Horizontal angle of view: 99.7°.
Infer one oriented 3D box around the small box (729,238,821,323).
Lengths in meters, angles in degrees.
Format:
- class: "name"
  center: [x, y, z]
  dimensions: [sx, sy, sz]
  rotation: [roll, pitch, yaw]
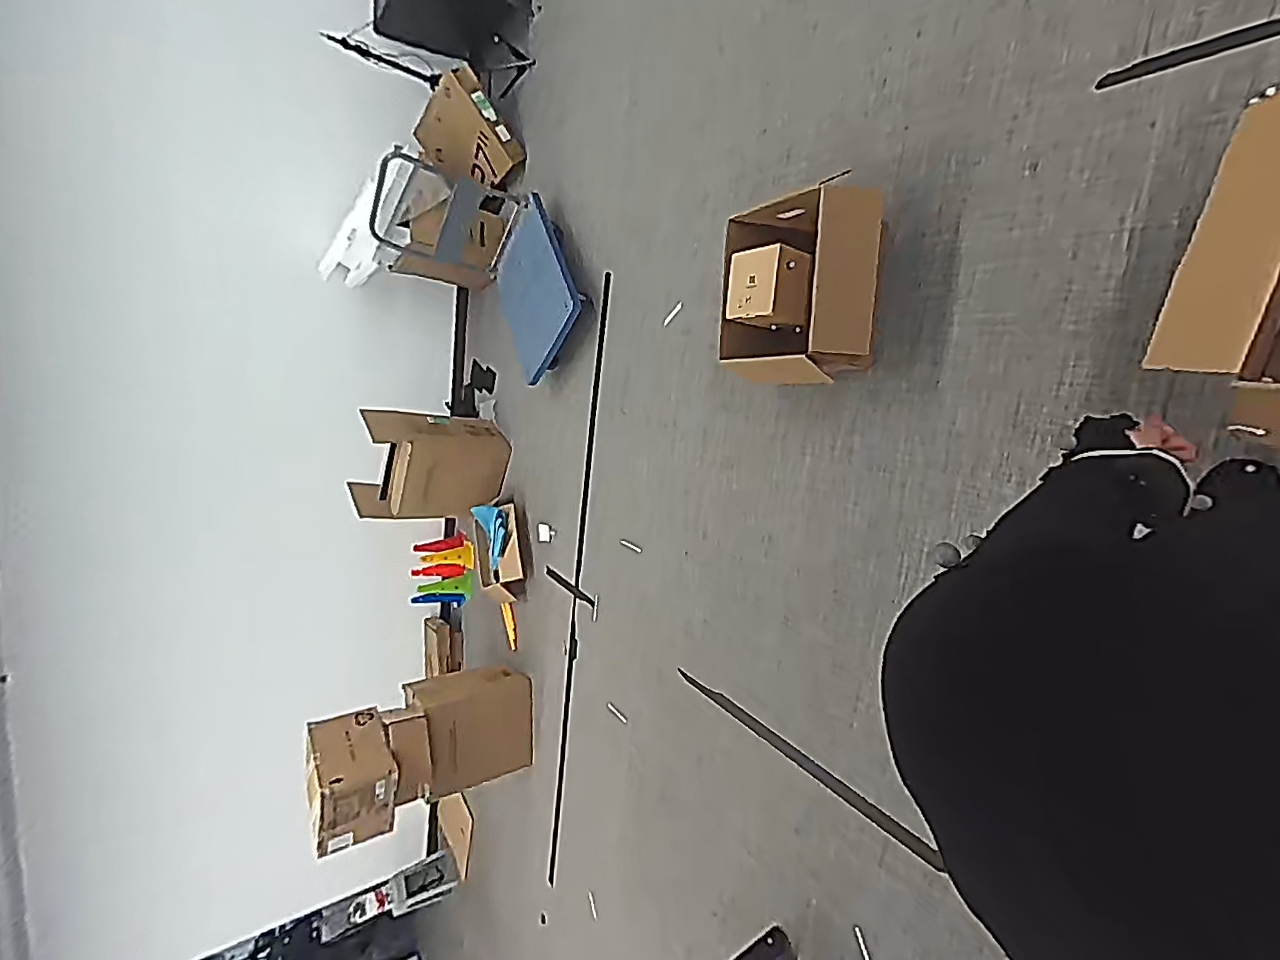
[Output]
- class: "small box"
  center: [0.364, -0.528, 1.453]
  dimensions: [0.168, 0.176, 0.179]
  rotation: [16, 104, 53]
